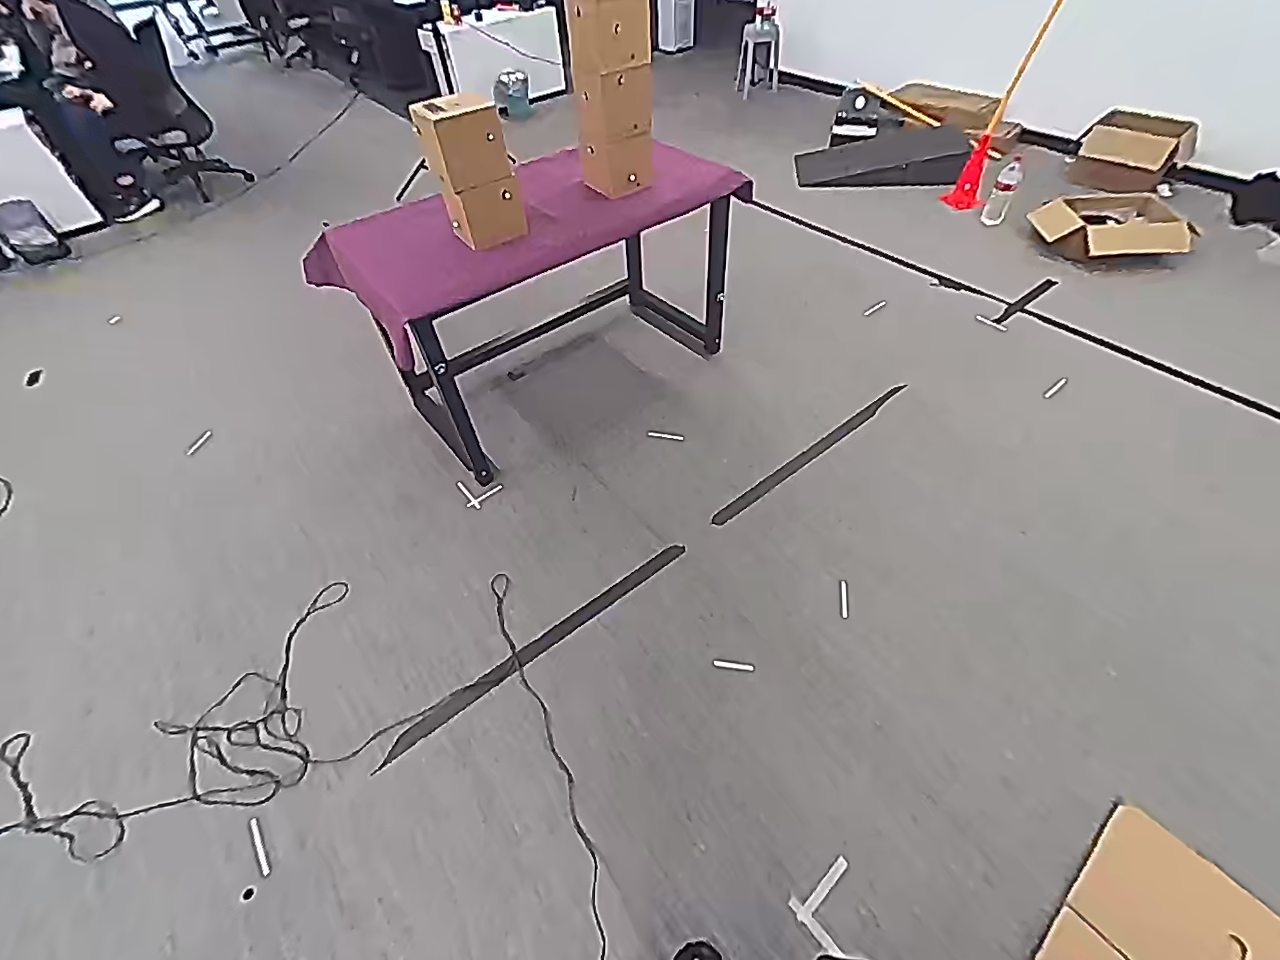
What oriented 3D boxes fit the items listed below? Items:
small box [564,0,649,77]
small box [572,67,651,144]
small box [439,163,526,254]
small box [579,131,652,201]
[{"bbox_3d":[-0.086,-1.231,1.487,0.168,0.176,0.179,-29,53,-18],"label":"small box"},{"bbox_3d":[-0.082,-1.129,1.615,0.168,0.176,0.179,-29,53,-18],"label":"small box"},{"bbox_3d":[-0.447,-0.785,1.565,0.179,0.176,0.168,-30,53,-20],"label":"small box"},{"bbox_3d":[-0.075,-1.027,1.742,0.168,0.176,0.179,-31,55,-20],"label":"small box"}]
